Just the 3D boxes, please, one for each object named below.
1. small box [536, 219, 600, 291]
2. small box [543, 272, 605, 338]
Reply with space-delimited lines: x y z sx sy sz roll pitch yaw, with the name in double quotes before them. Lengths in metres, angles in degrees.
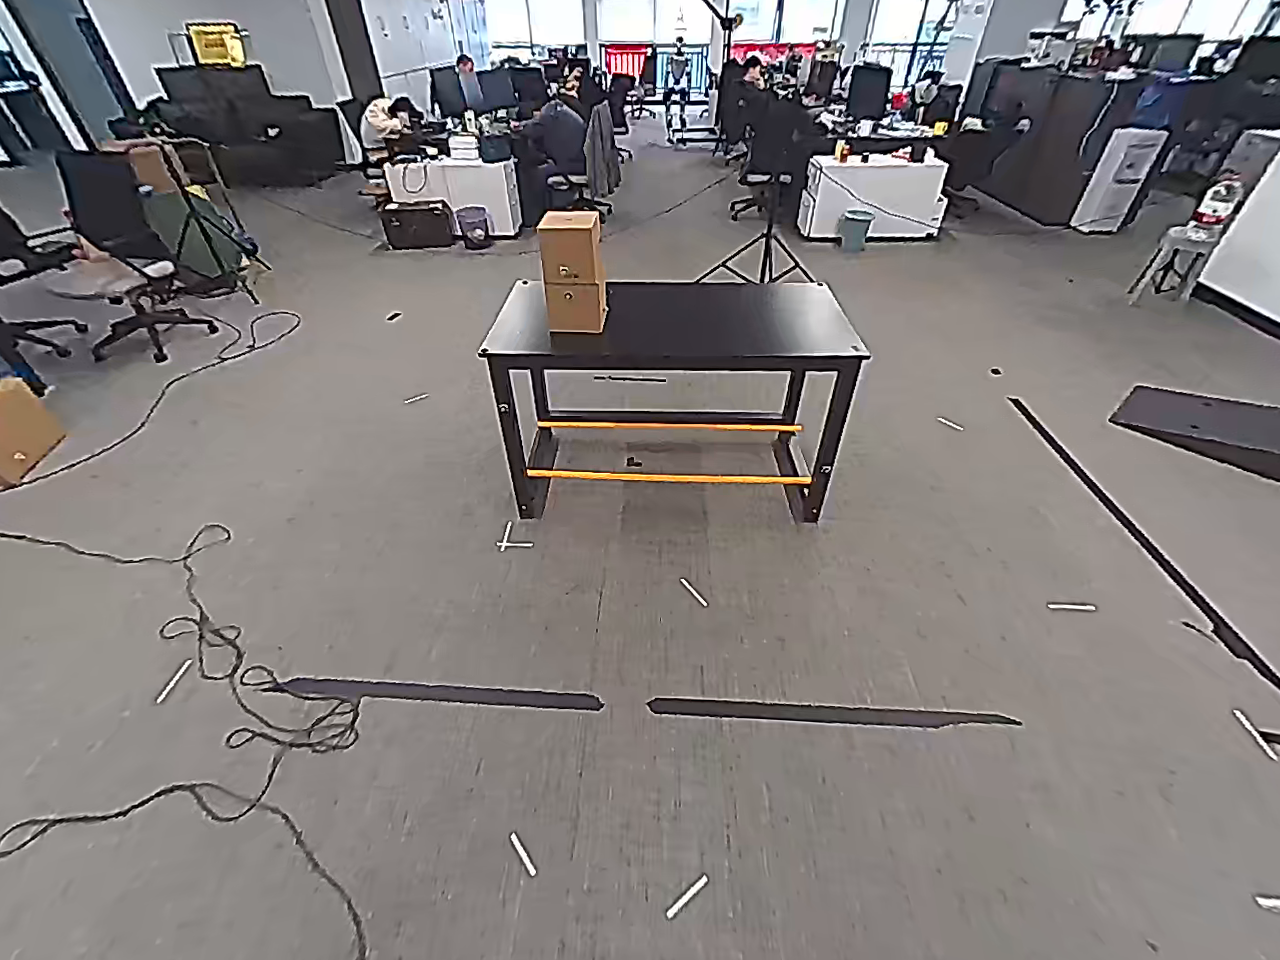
"small box" -0.220 -0.709 1.699 0.168 0.176 0.179 0 41 3
"small box" -0.215 -0.586 1.805 0.179 0.176 0.168 2 40 2
